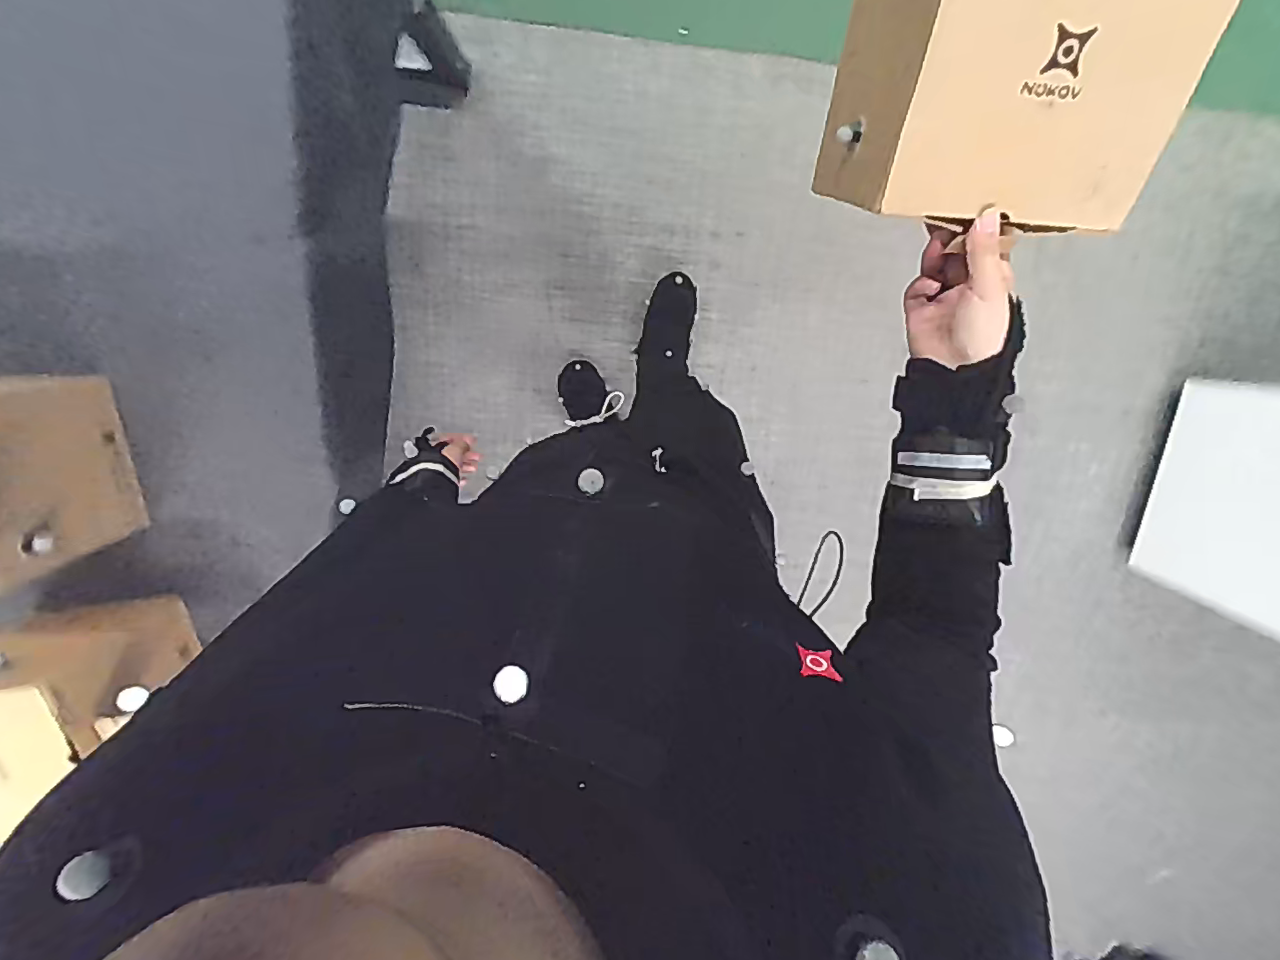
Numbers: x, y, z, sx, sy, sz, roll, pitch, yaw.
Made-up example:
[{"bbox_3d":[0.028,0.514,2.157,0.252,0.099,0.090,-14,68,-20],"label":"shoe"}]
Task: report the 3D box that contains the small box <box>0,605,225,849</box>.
[{"bbox_3d":[-0.606,0.253,0.578,0.179,0.176,0.168,-8,107,-1],"label":"small box"}]
